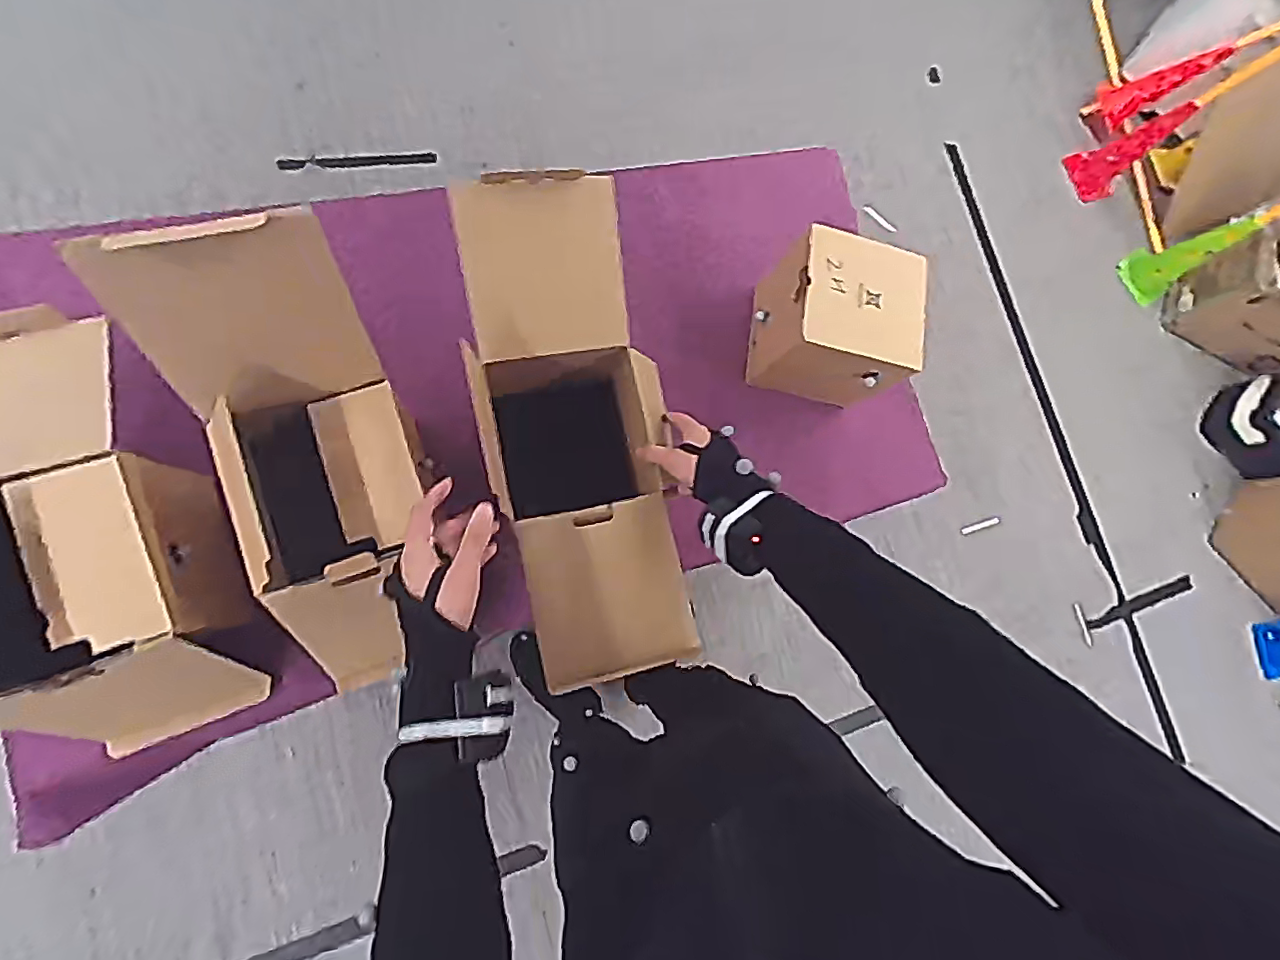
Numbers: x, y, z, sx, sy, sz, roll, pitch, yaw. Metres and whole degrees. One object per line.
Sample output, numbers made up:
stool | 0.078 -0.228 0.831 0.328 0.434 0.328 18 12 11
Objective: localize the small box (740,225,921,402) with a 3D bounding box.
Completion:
small box | 0.264 -0.221 0.771 0.179 0.176 0.168 11 78 -11
